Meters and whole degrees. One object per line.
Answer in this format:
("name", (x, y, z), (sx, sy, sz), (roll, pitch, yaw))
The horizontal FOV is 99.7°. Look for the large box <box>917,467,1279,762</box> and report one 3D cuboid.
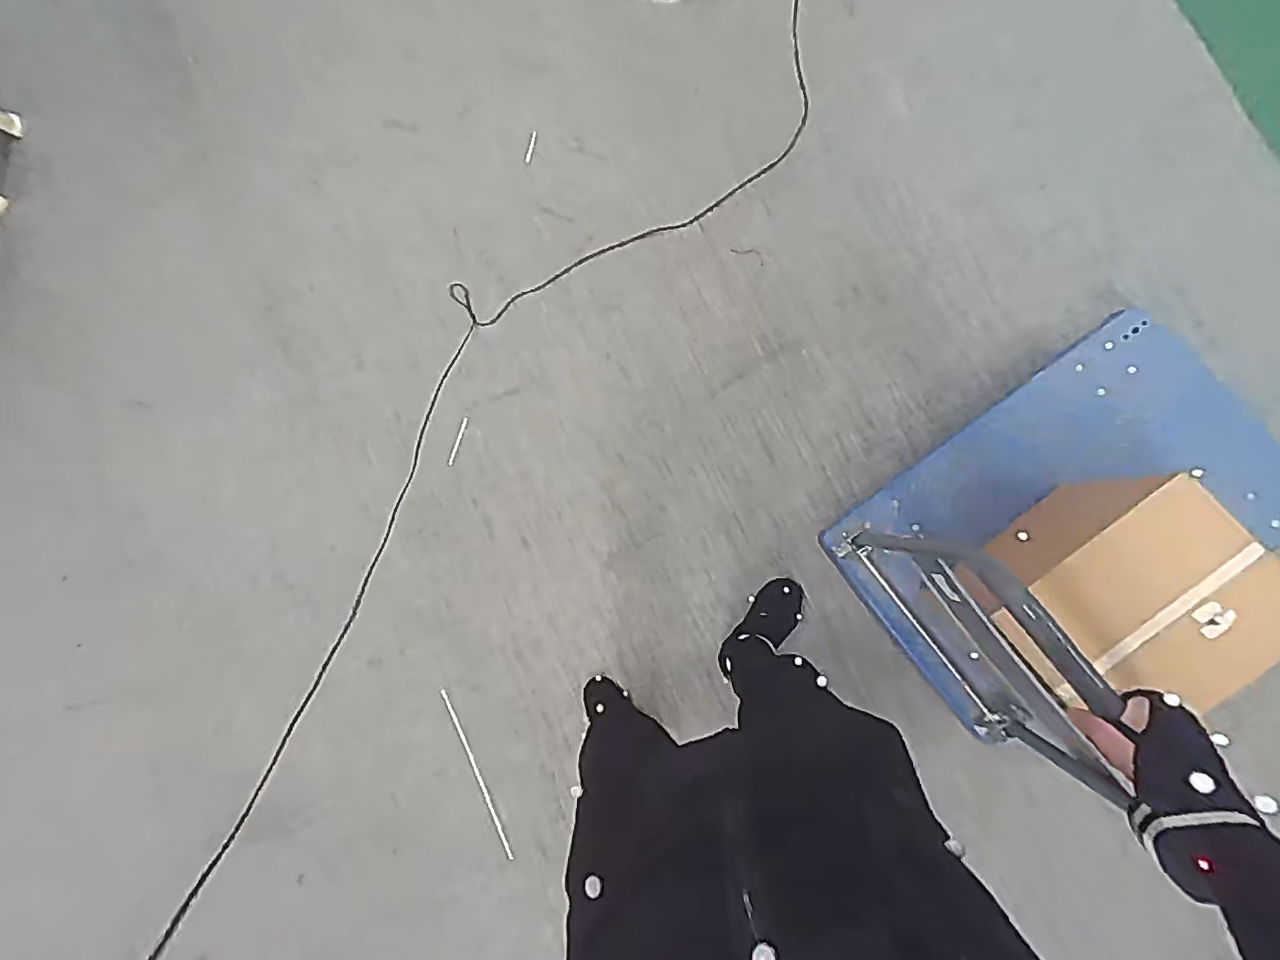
("large box", (0.841, 0.232, 1.034), (0.408, 0.320, 0.320), (-39, 83, 2))
